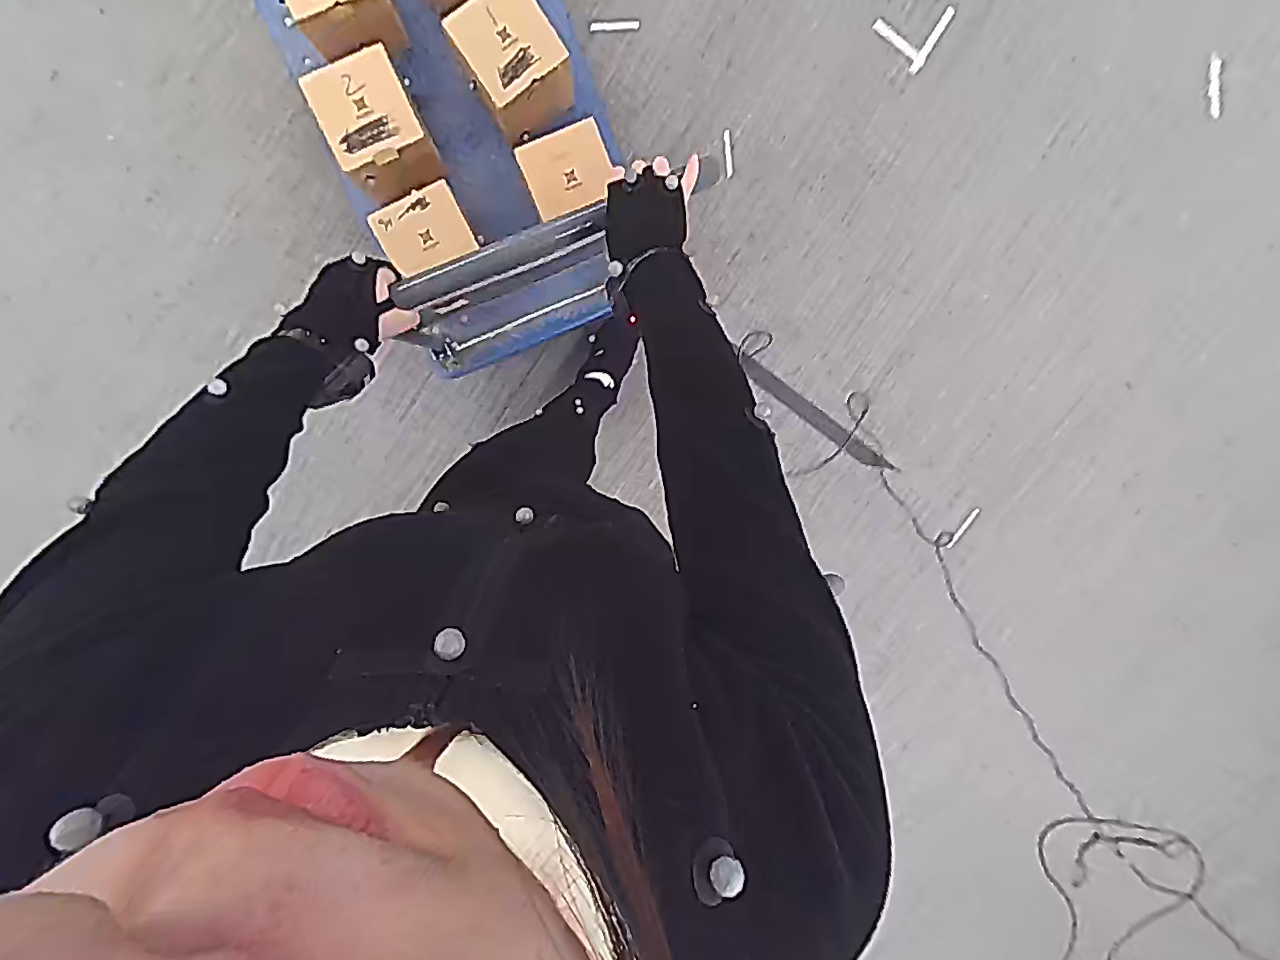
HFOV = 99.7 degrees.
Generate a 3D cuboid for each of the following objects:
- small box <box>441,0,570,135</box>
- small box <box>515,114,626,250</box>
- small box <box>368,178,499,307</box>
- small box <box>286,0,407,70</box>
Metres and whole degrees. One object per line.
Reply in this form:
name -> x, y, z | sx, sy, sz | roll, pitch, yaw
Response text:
small box -> -0.252, -0.822, 1.063 | 0.168, 0.176, 0.179 | -36, 100, 1
small box -> -0.137, -0.595, 1.111 | 0.168, 0.176, 0.179 | -23, 100, -2
small box -> -0.407, -0.470, 1.104 | 0.168, 0.176, 0.179 | -28, 101, -2
small box -> -0.573, -0.932, 1.016 | 0.168, 0.176, 0.179 | -22, 101, -1
